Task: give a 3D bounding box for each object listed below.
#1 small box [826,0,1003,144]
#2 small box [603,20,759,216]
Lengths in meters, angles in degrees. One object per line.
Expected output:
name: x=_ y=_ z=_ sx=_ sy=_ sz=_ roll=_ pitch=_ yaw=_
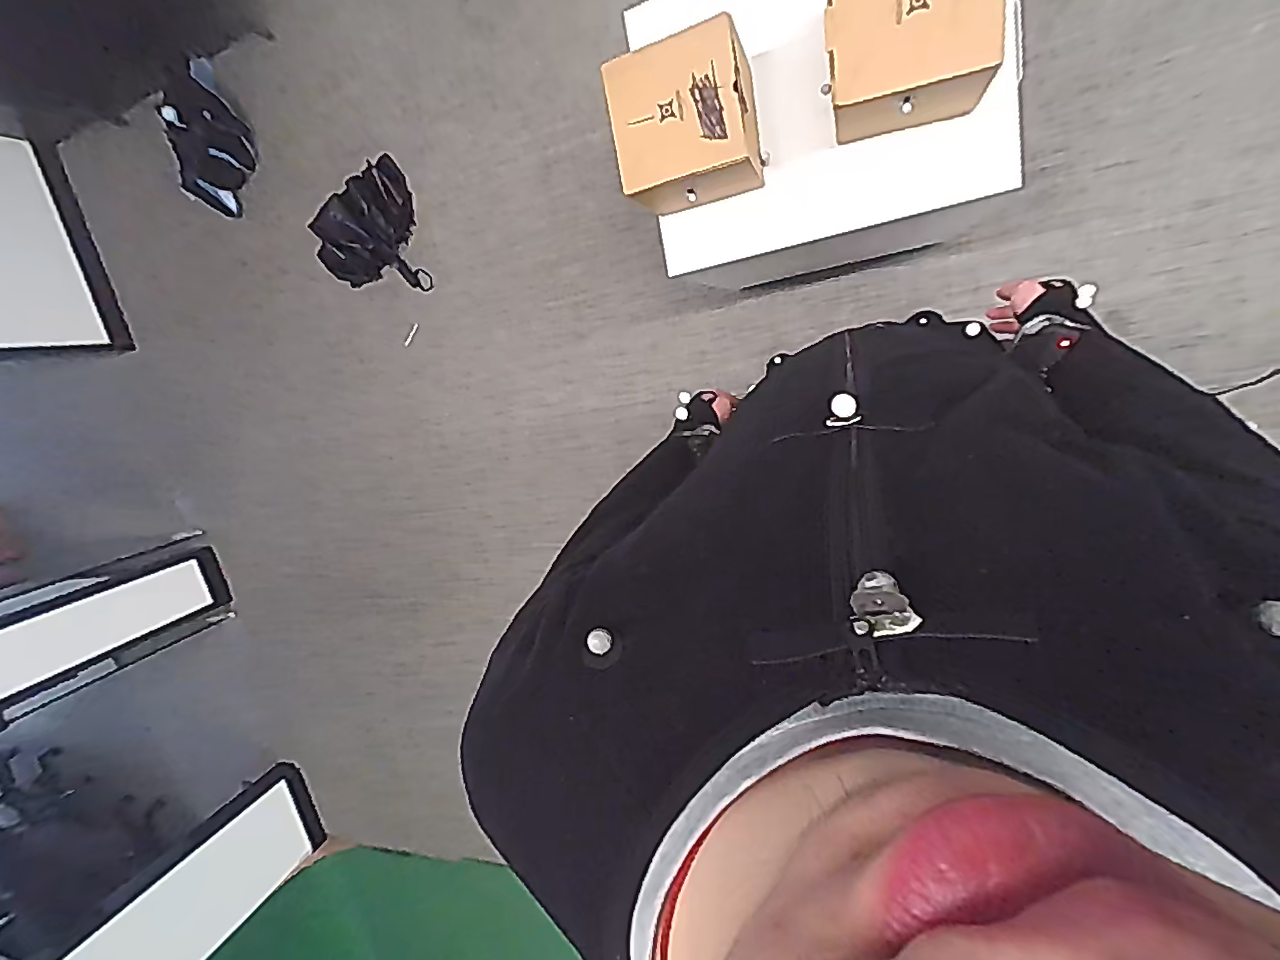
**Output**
small box: x=0.327 y=-0.541 z=0.666 sx=0.179 sy=0.176 sz=0.168 roll=-2 pitch=106 yaw=21
small box: x=0.071 y=-0.497 z=0.776 sx=0.179 sy=0.176 sz=0.168 roll=-5 pitch=103 yaw=23
